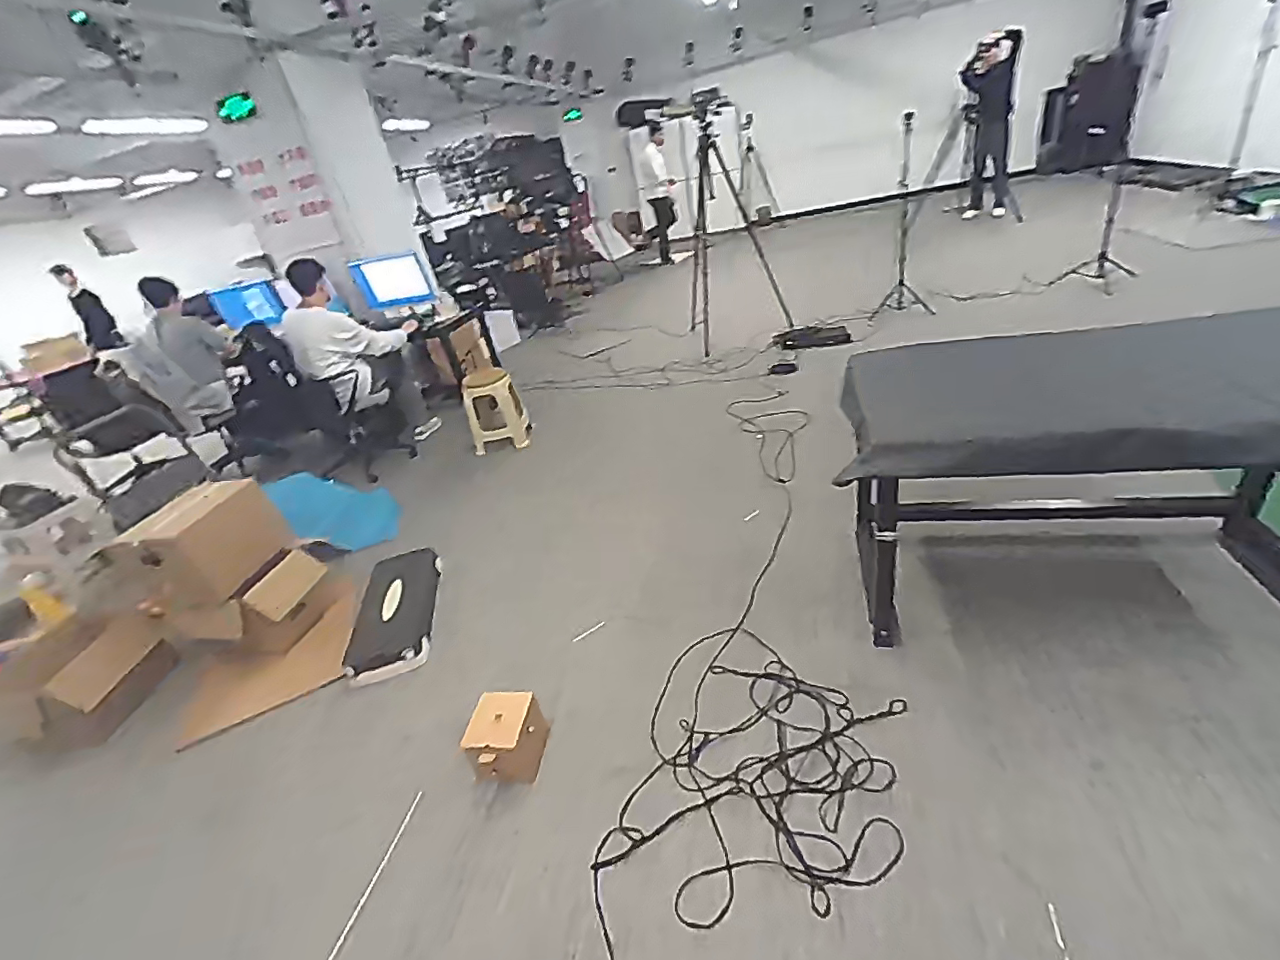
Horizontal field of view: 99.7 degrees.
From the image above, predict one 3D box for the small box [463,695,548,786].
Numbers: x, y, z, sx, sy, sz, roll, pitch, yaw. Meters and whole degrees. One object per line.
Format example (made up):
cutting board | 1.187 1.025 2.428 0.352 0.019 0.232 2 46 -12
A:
small box | -0.376 0.746 1.555 0.168 0.176 0.179 -5 31 12
